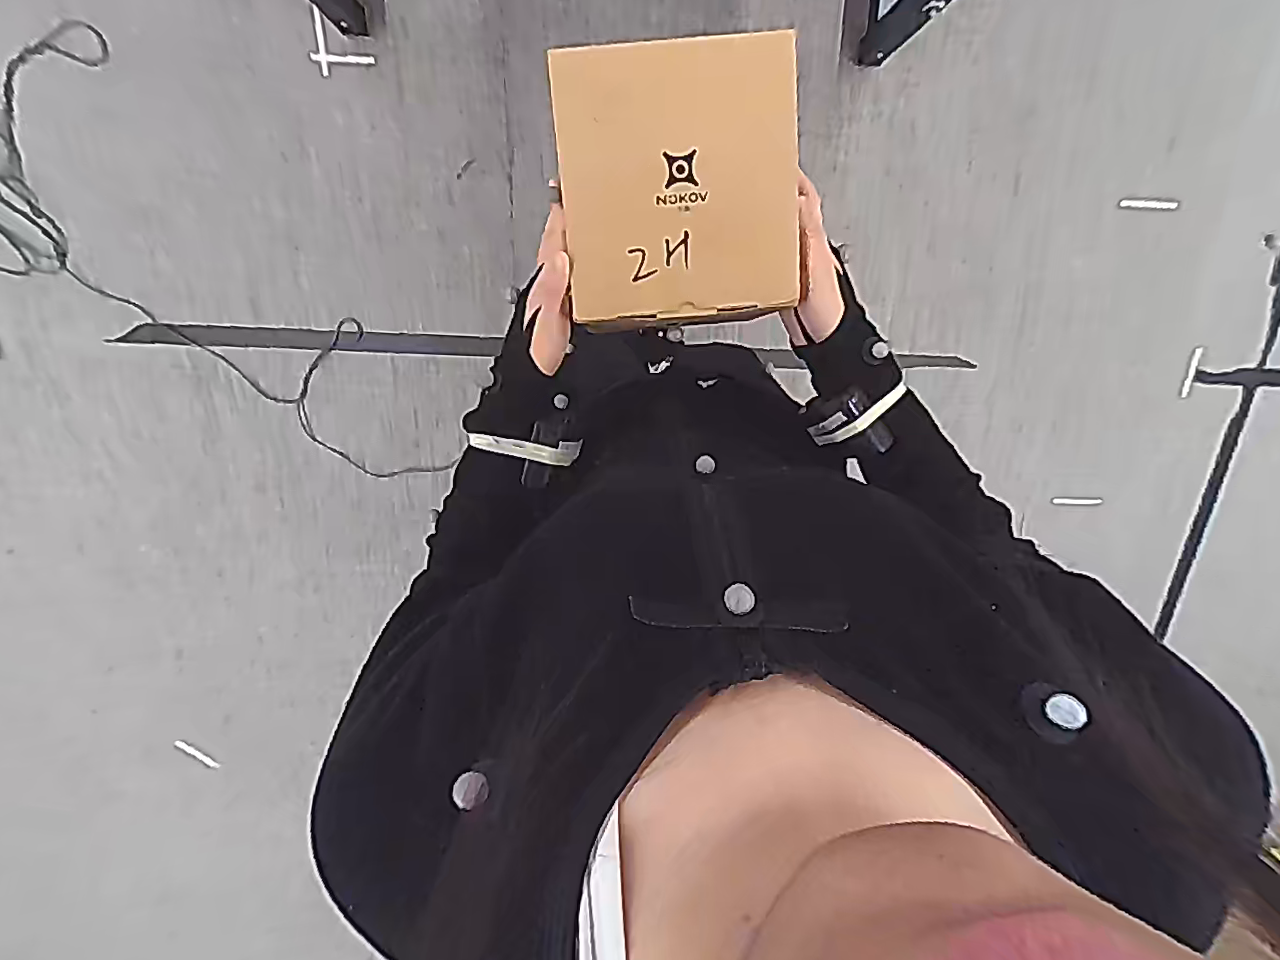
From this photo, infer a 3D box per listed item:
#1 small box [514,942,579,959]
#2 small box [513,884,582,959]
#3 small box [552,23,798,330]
[{"bbox_3d":[-0.239,1.314,1.359,0.168,0.176,0.179,0,106,-4],"label":"small box"},{"bbox_3d":[-0.253,1.272,1.516,0.179,0.176,0.168,0,107,-2],"label":"small box"},{"bbox_3d":[0.025,-0.226,0.449,0.168,0.176,0.179,-4,102,0],"label":"small box"}]
